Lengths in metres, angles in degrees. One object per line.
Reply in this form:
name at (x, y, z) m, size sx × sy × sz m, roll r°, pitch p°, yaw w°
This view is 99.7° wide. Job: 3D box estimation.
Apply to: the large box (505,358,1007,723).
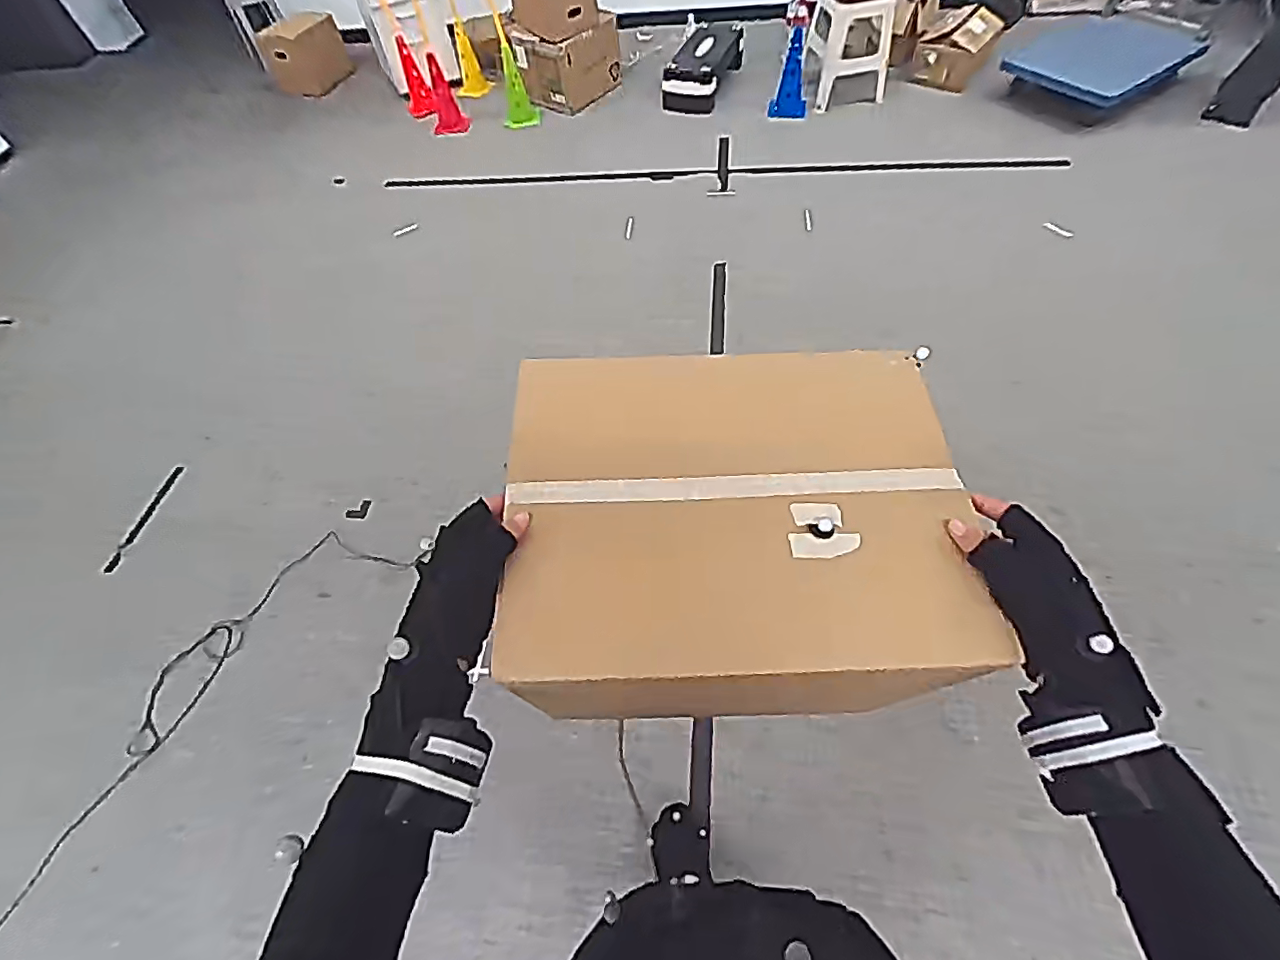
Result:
large box at (0.083, 0.085, 0.619) m, size 0.408 × 0.320 × 0.320 m, roll -2°, pitch 61°, yaw -2°
